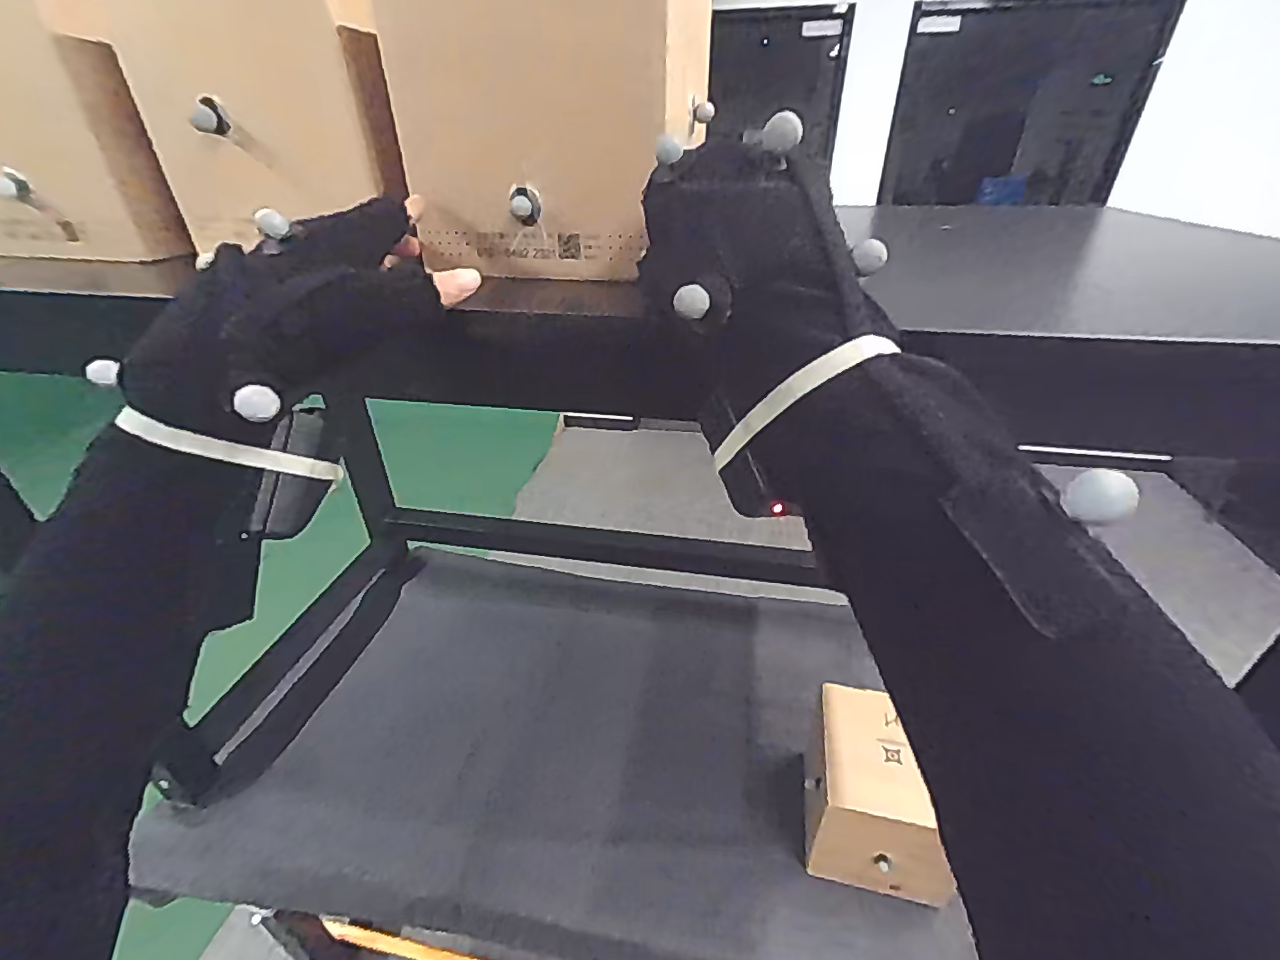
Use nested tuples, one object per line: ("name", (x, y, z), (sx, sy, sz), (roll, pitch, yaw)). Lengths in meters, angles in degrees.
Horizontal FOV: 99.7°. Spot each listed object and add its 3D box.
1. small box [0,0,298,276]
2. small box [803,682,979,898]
("small box", (-0.427, -0.279, 0.453), (0.168, 0.176, 0.179), (6, 33, 10))
("small box", (0.314, 0.406, 0.716), (0.168, 0.176, 0.179), (7, 32, 12))
